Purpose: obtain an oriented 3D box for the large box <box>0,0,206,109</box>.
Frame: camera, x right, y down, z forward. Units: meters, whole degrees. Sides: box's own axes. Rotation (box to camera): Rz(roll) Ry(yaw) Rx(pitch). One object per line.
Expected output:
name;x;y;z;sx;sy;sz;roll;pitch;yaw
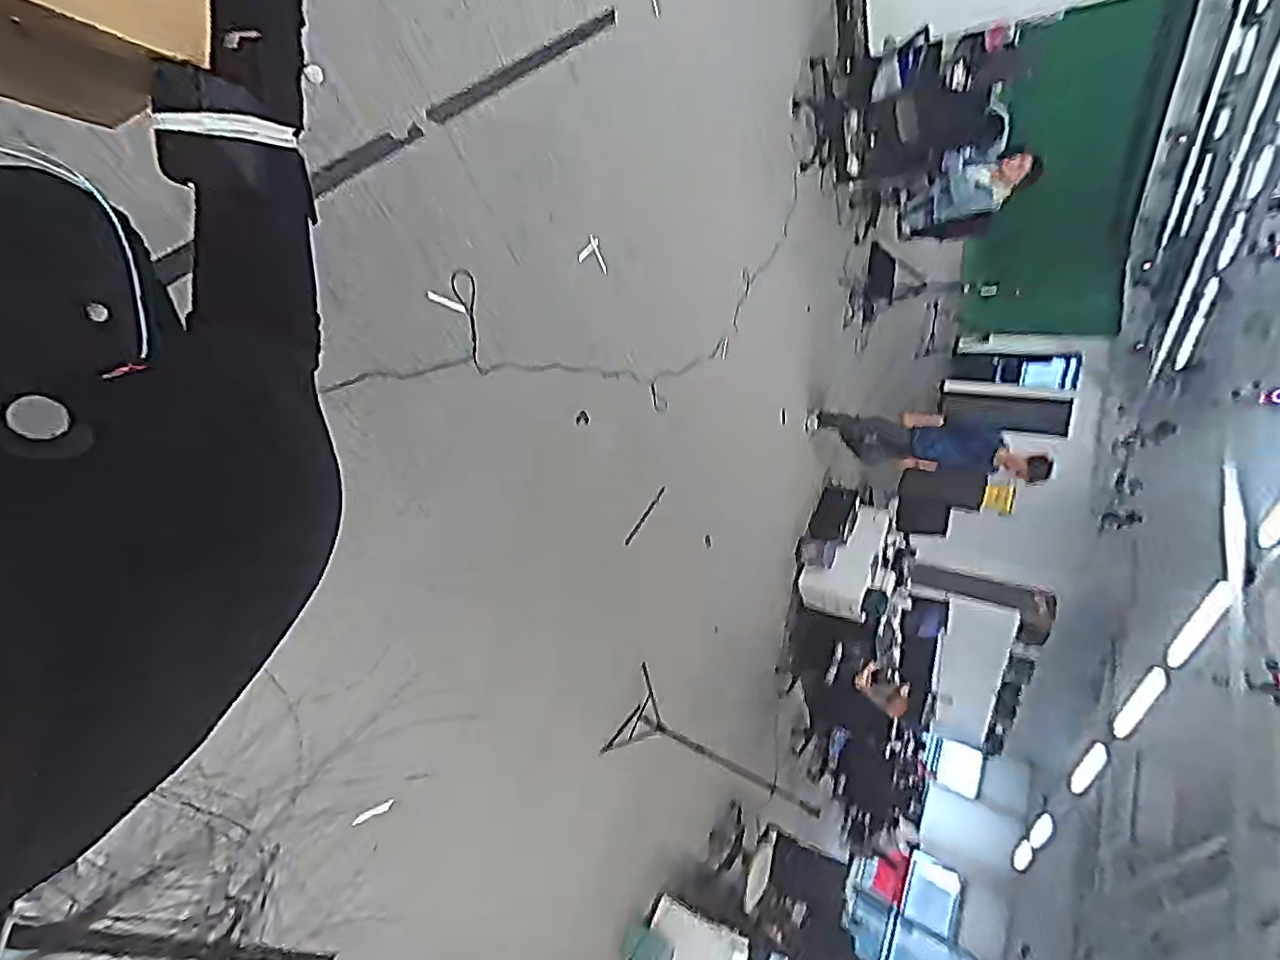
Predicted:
large box;-0.496;-0.434;0.240;0.408;0.320;0.320;-9;114;-51
